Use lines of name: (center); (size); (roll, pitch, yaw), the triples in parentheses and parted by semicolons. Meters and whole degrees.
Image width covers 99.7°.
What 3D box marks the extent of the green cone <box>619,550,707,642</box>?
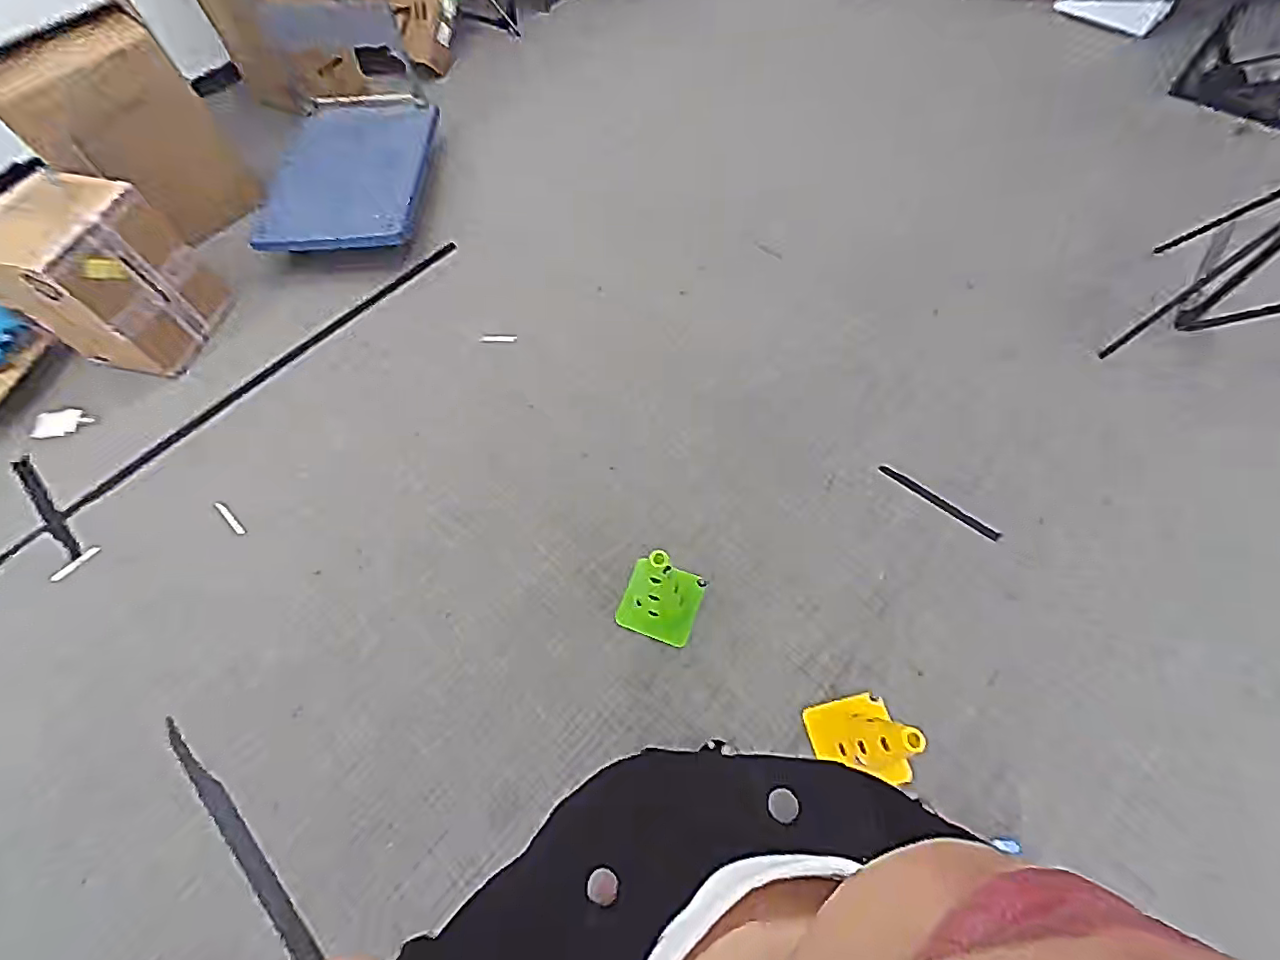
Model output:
green cone: (0.051, 0.240, 1.311); (0.200, 0.368, 0.202); (17, 66, 12)
